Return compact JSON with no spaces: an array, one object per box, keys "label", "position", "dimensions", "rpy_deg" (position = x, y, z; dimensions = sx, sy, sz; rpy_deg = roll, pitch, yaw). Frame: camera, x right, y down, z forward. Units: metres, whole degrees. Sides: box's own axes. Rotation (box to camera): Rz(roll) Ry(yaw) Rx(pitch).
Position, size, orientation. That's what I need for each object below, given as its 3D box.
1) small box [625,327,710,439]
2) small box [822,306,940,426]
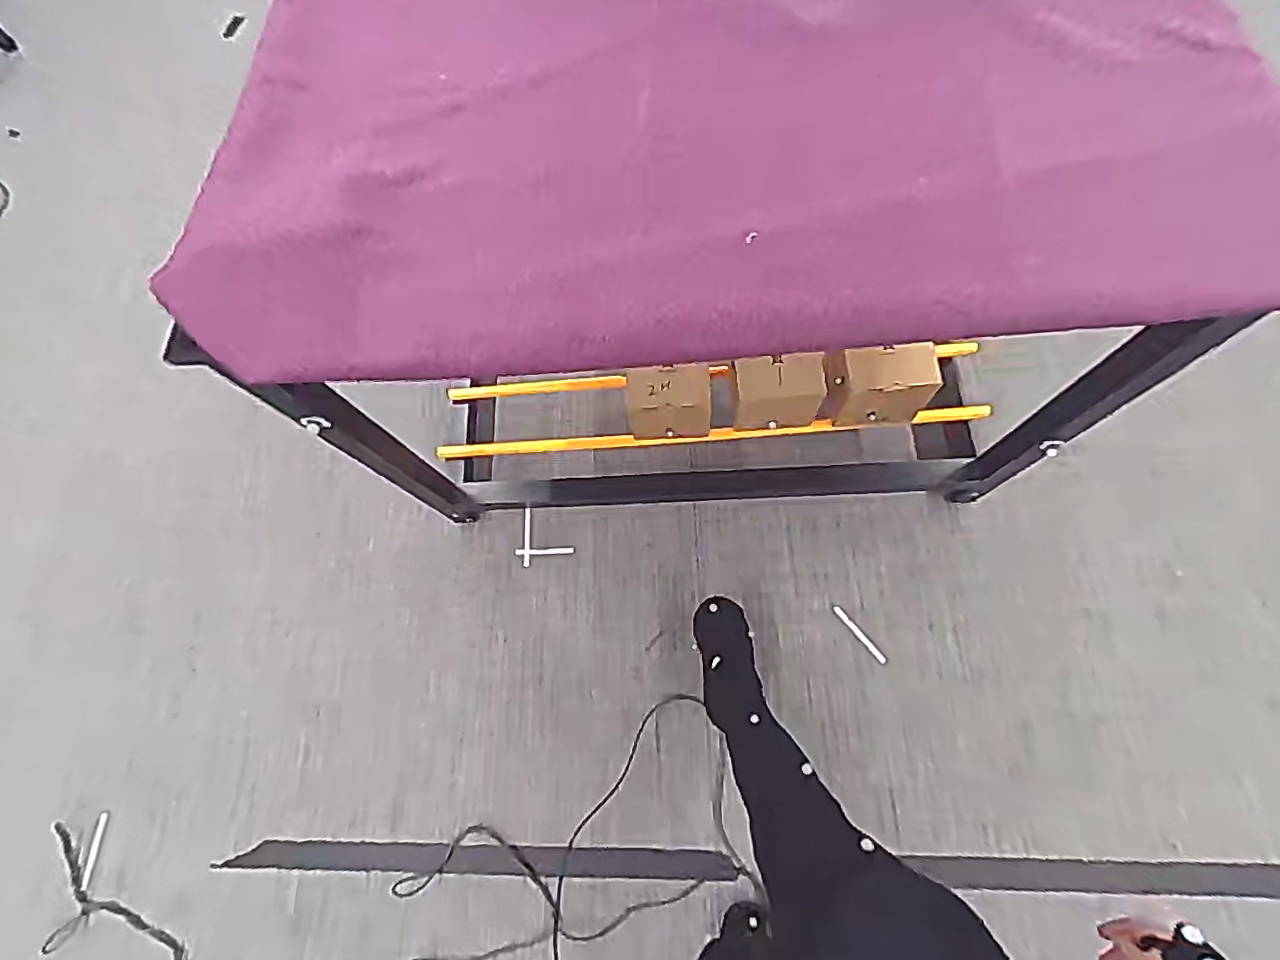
[{"label":"small box","position":[0.059,-0.198,1.135],"dimensions":[0.168,0.176,0.179],"rpy_deg":[-2,72,5]},{"label":"small box","position":[0.478,-0.227,1.102],"dimensions":[0.168,0.176,0.179],"rpy_deg":[-4,71,6]}]
